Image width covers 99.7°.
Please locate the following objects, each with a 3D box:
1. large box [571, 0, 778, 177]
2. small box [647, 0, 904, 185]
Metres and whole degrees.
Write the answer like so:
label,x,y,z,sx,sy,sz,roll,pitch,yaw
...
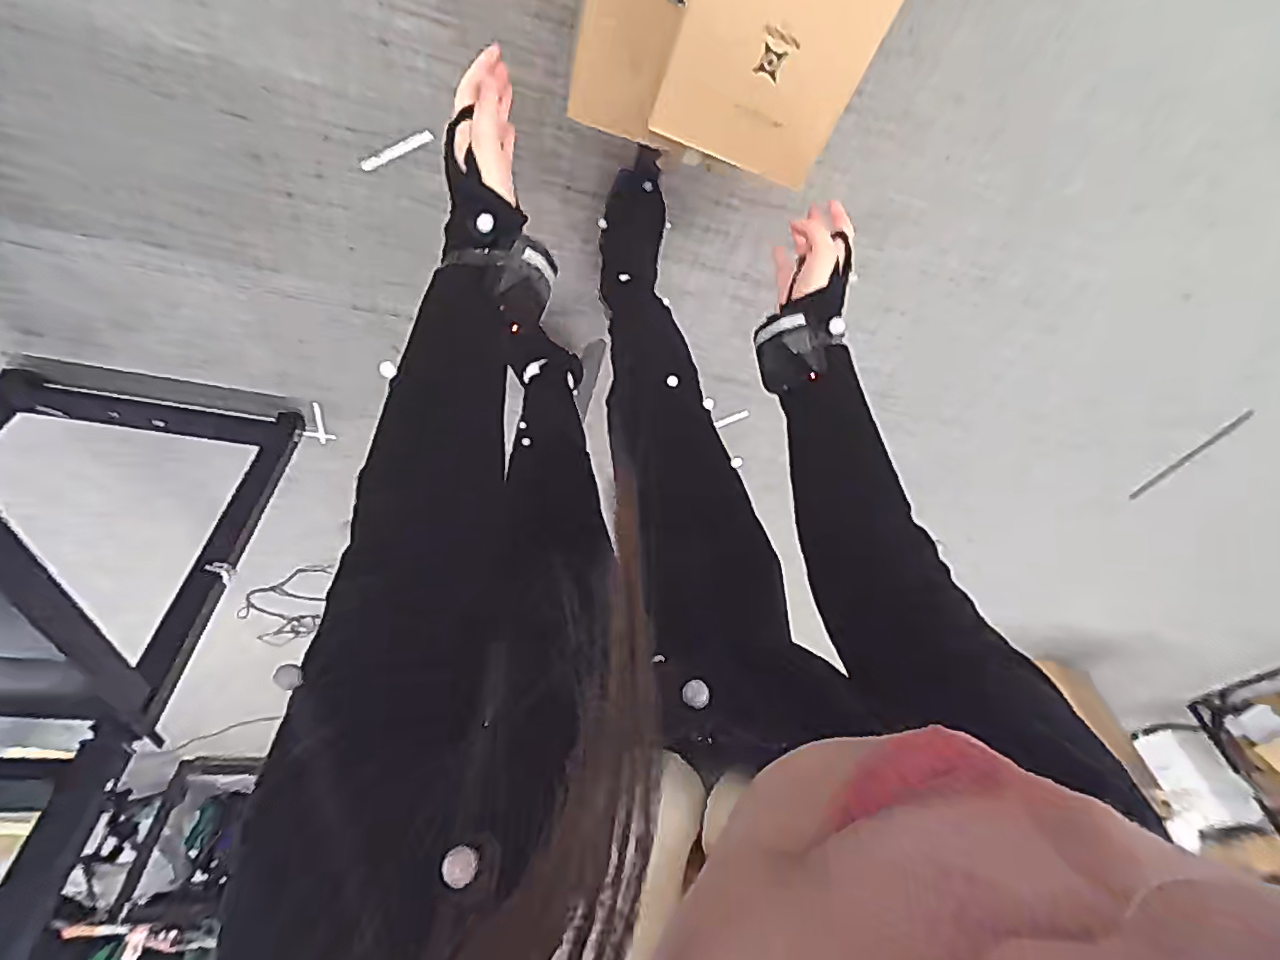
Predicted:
label,x,y,z,sx,sy,sz,roll,pitch,yaw
large box,0.108,-0.646,0.631,0.320,0.320,0.408,8,135,-16
small box,0.110,-0.424,0.509,0.168,0.176,0.179,13,135,-17
